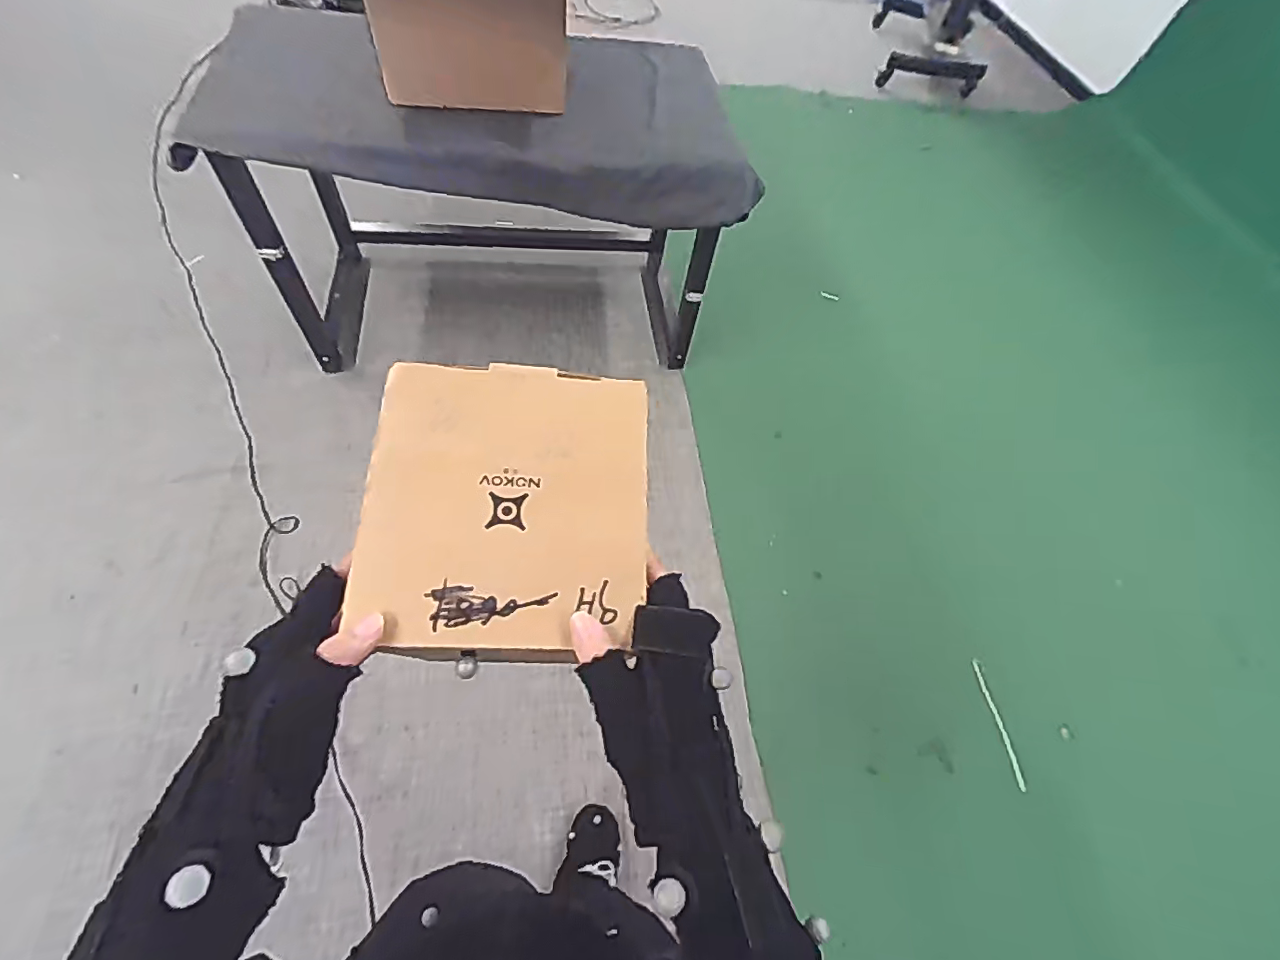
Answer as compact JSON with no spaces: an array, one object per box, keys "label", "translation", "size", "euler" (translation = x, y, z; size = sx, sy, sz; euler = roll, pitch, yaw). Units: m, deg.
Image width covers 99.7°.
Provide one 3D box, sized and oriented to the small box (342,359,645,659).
[{"label":"small box","translation":[-0.089,0.035,0.404],"size":[0.168,0.176,0.179],"euler":[3,68,-6]}]
